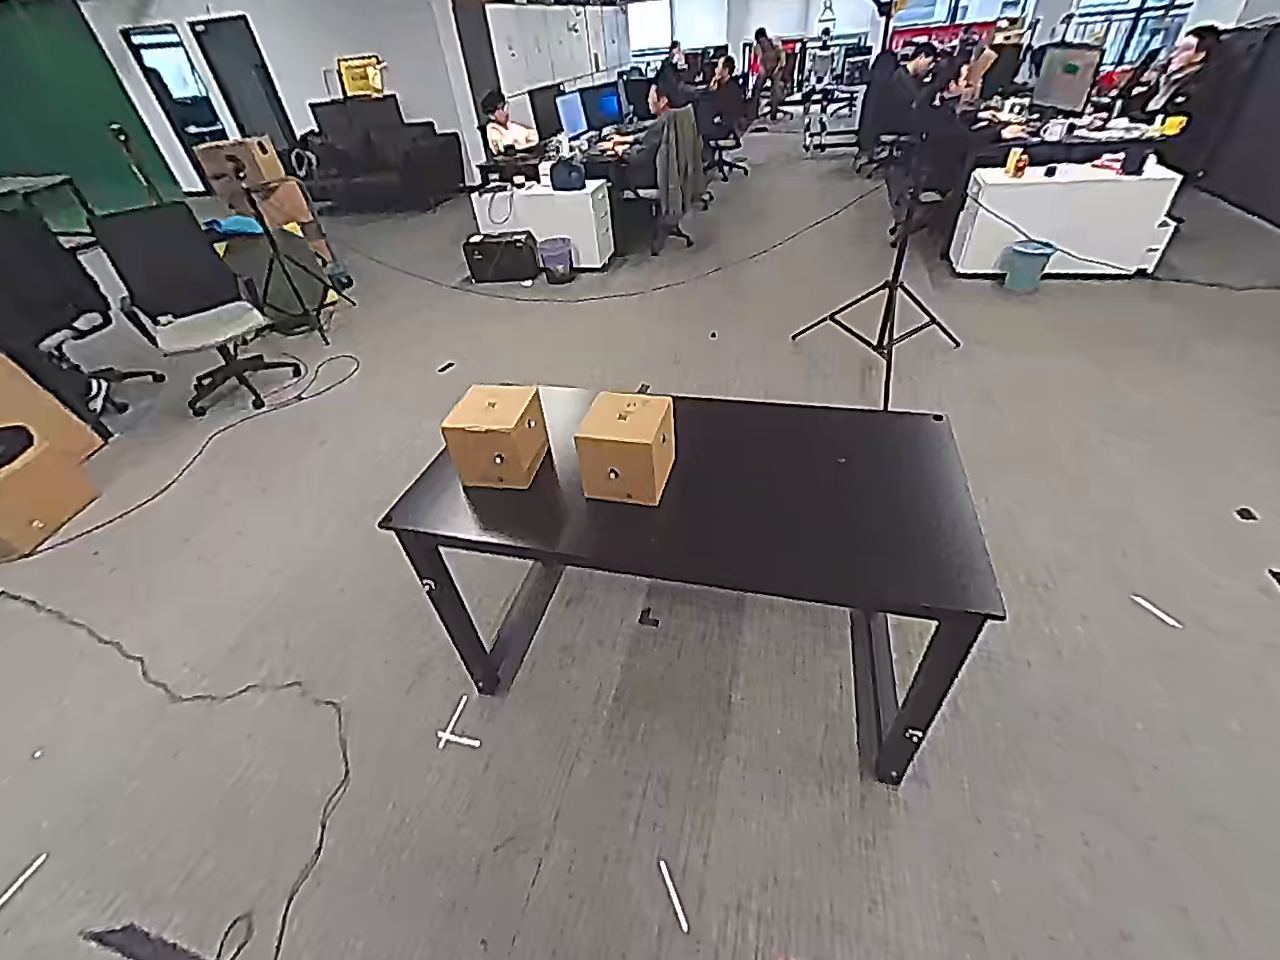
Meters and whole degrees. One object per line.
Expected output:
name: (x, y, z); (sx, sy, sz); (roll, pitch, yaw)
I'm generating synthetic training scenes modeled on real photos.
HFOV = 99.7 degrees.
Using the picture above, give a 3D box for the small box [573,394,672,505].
small box: (-0.027, -0.066, 1.172); (0.168, 0.176, 0.179); (7, 41, 15)

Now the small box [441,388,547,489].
small box: (-0.324, -0.095, 1.246); (0.168, 0.176, 0.179); (4, 39, 9)
